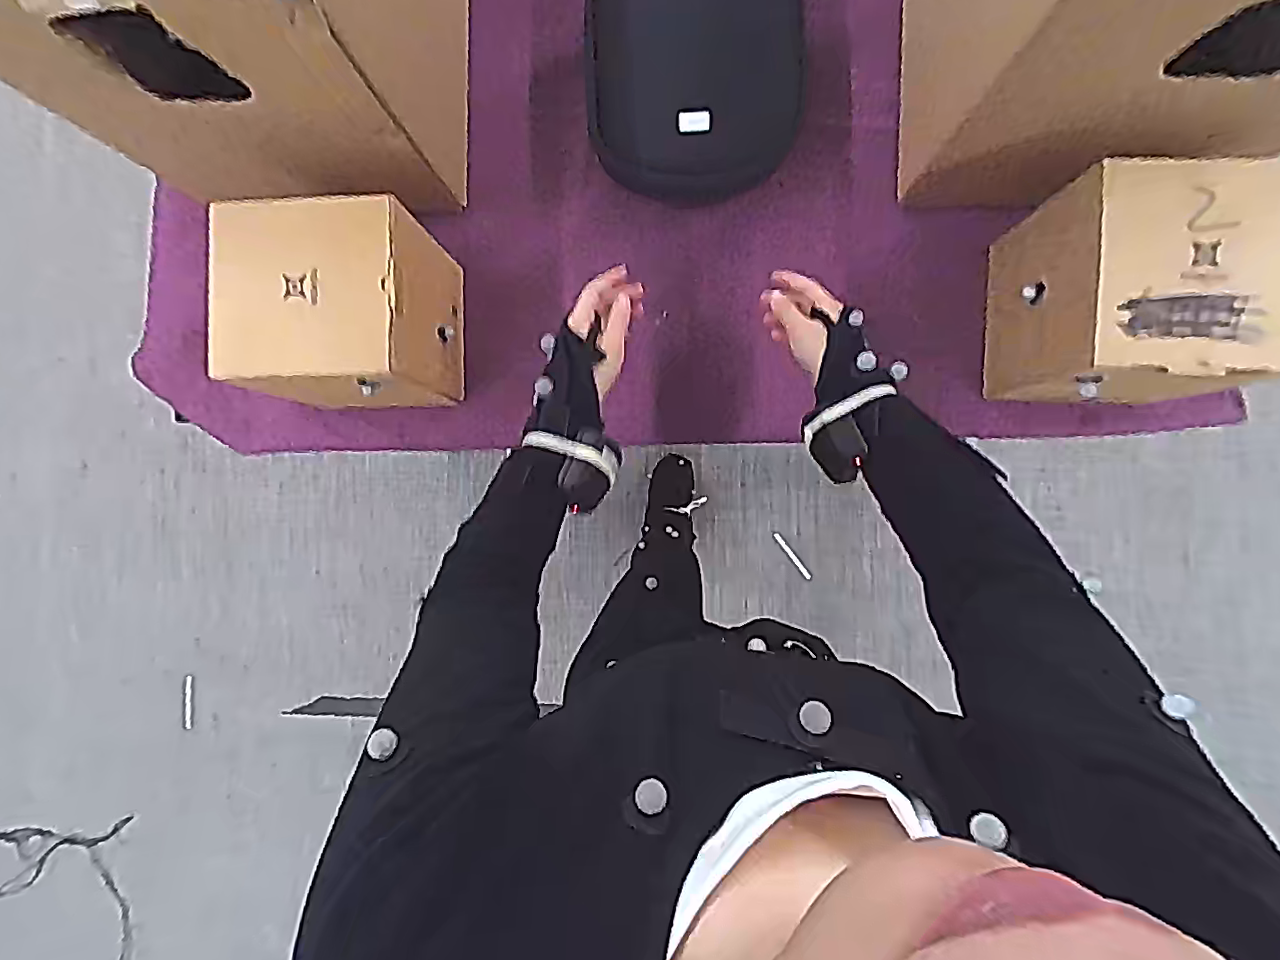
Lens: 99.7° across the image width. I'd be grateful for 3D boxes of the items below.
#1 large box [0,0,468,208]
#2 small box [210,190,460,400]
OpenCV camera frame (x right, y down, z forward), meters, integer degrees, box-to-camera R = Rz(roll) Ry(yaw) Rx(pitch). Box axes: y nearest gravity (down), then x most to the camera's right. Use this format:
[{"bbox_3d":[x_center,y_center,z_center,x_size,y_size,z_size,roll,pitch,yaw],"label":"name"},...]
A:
[{"bbox_3d":[-0.367,-0.528,0.516,0.320,0.320,0.408,0,92,2],"label":"large box"},{"bbox_3d":[-0.312,-0.183,0.582,0.179,0.176,0.168,-2,89,3],"label":"small box"}]
